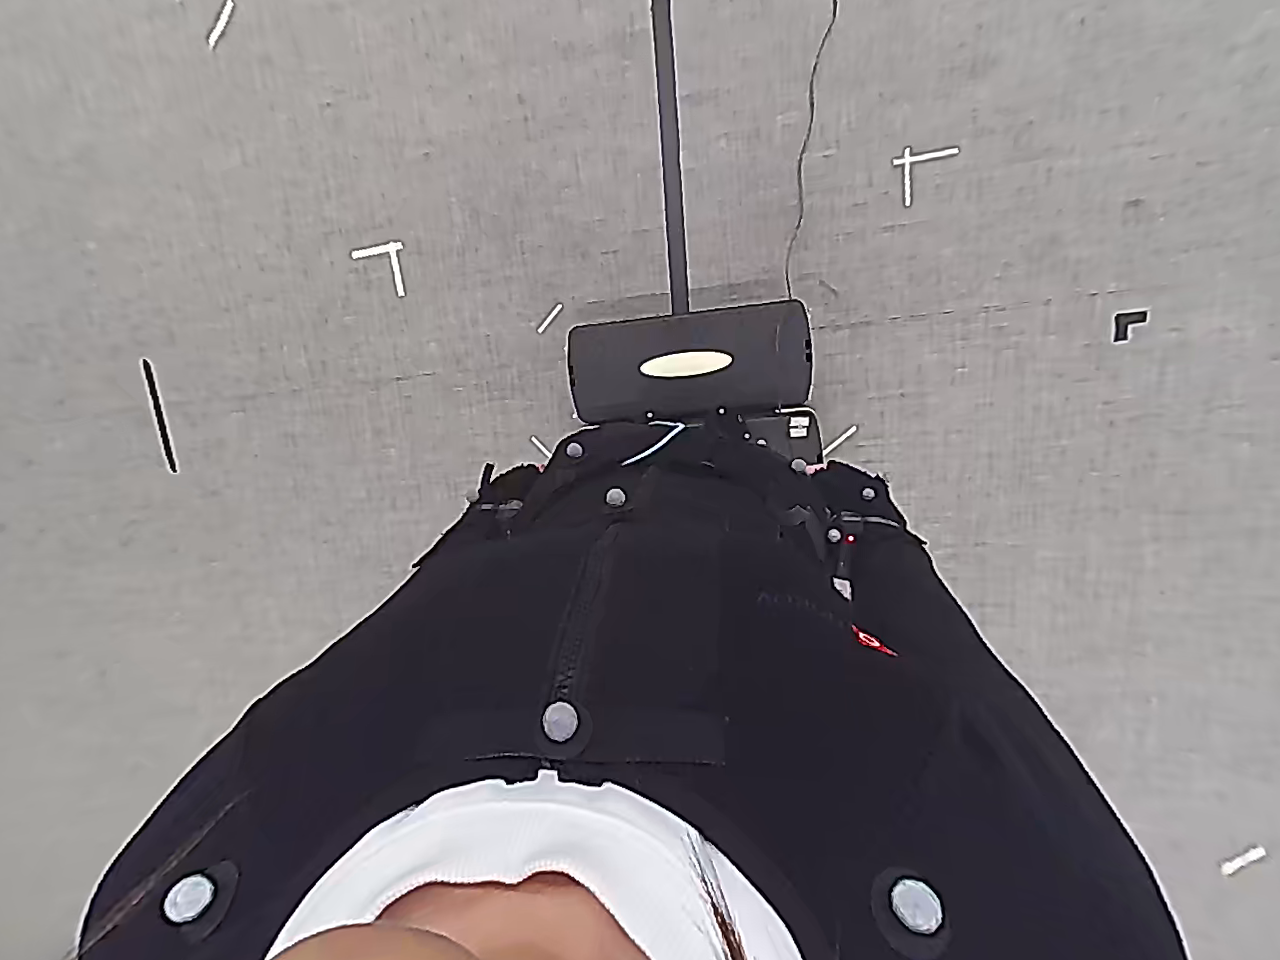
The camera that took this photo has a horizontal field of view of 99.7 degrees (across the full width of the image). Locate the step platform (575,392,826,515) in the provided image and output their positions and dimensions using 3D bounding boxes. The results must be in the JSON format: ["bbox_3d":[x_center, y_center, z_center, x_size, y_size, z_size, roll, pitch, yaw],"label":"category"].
[{"bbox_3d":[0.162,-0.069,1.511,0.684,0.204,0.286,-5,99,11],"label":"step platform"}]
